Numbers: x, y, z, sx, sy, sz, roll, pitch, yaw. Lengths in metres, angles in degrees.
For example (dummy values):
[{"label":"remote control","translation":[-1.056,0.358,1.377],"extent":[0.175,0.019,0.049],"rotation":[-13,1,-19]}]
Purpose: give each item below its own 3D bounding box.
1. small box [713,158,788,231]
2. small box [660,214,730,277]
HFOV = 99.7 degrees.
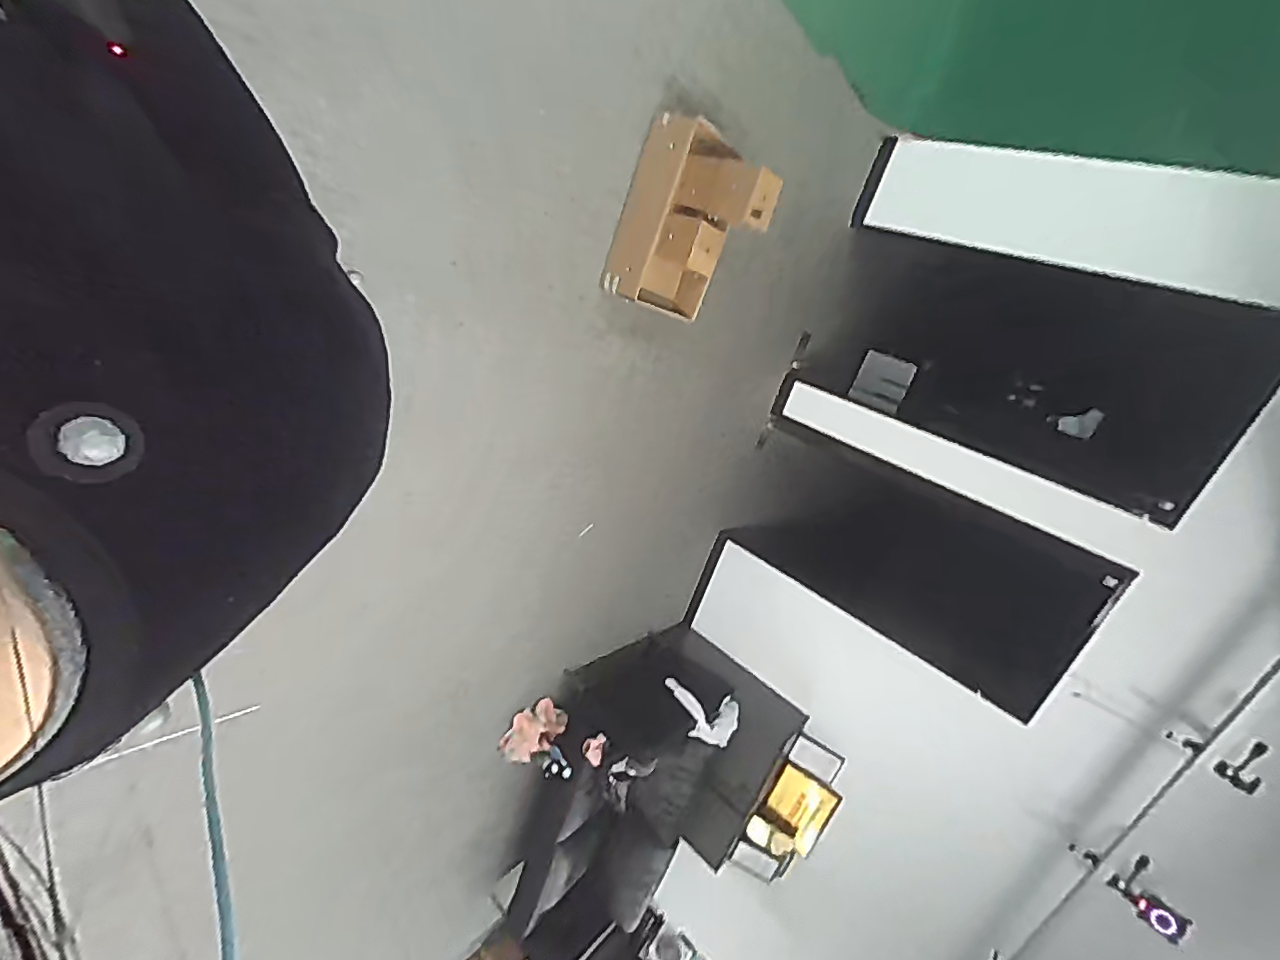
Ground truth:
[{"label":"small box","translation":[0.381,-1.001,1.895],"extent":[0.168,0.176,0.179],"rotation":[-8,122,-49]},{"label":"small box","translation":[0.207,-0.895,2.057],"extent":[0.179,0.176,0.168],"rotation":[-2,117,-51]}]
